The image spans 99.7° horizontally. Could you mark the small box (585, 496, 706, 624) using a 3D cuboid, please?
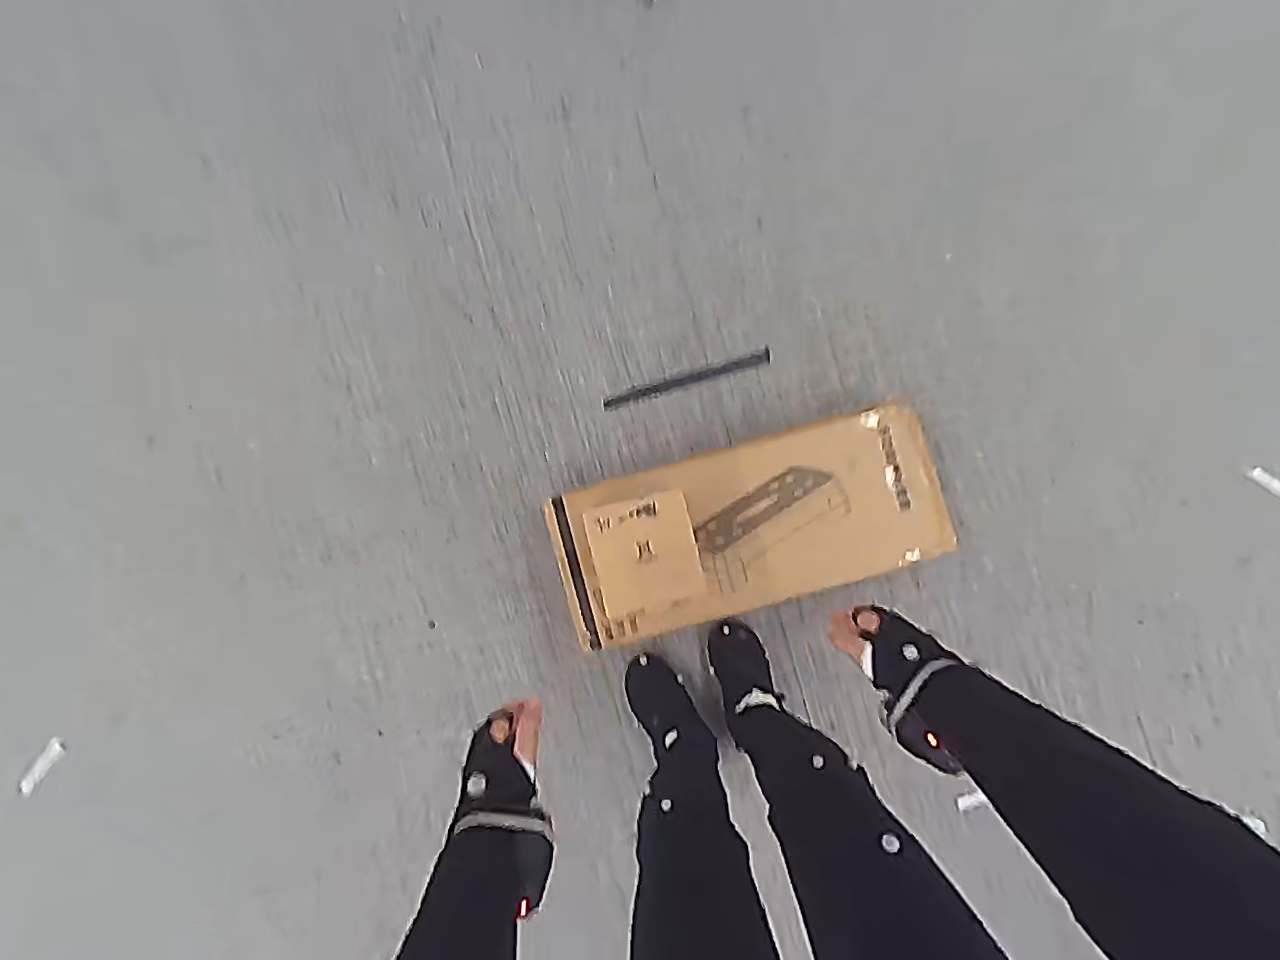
[{"bbox_3d":[0.009,0.128,0.934,0.168,0.176,0.179,-14,88,-2],"label":"small box"}]
